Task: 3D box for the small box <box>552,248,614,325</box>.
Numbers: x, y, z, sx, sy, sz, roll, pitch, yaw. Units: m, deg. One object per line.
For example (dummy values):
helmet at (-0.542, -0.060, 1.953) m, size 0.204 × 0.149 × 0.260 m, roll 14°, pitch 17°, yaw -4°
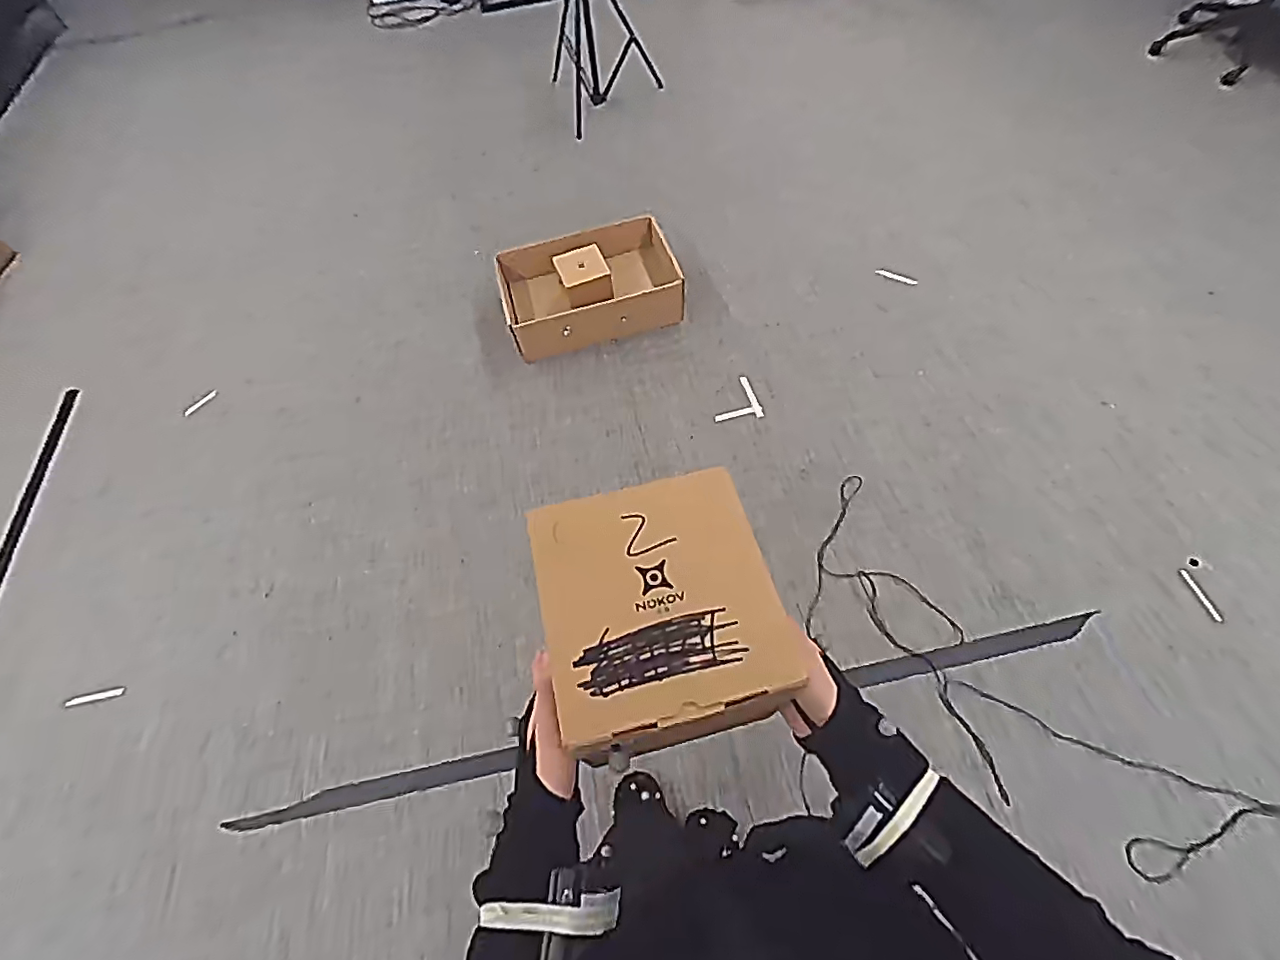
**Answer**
small box at (-0.203, -0.695, 1.952) m, size 0.168 × 0.176 × 0.179 m, roll -21°, pitch 62°, yaw -6°
